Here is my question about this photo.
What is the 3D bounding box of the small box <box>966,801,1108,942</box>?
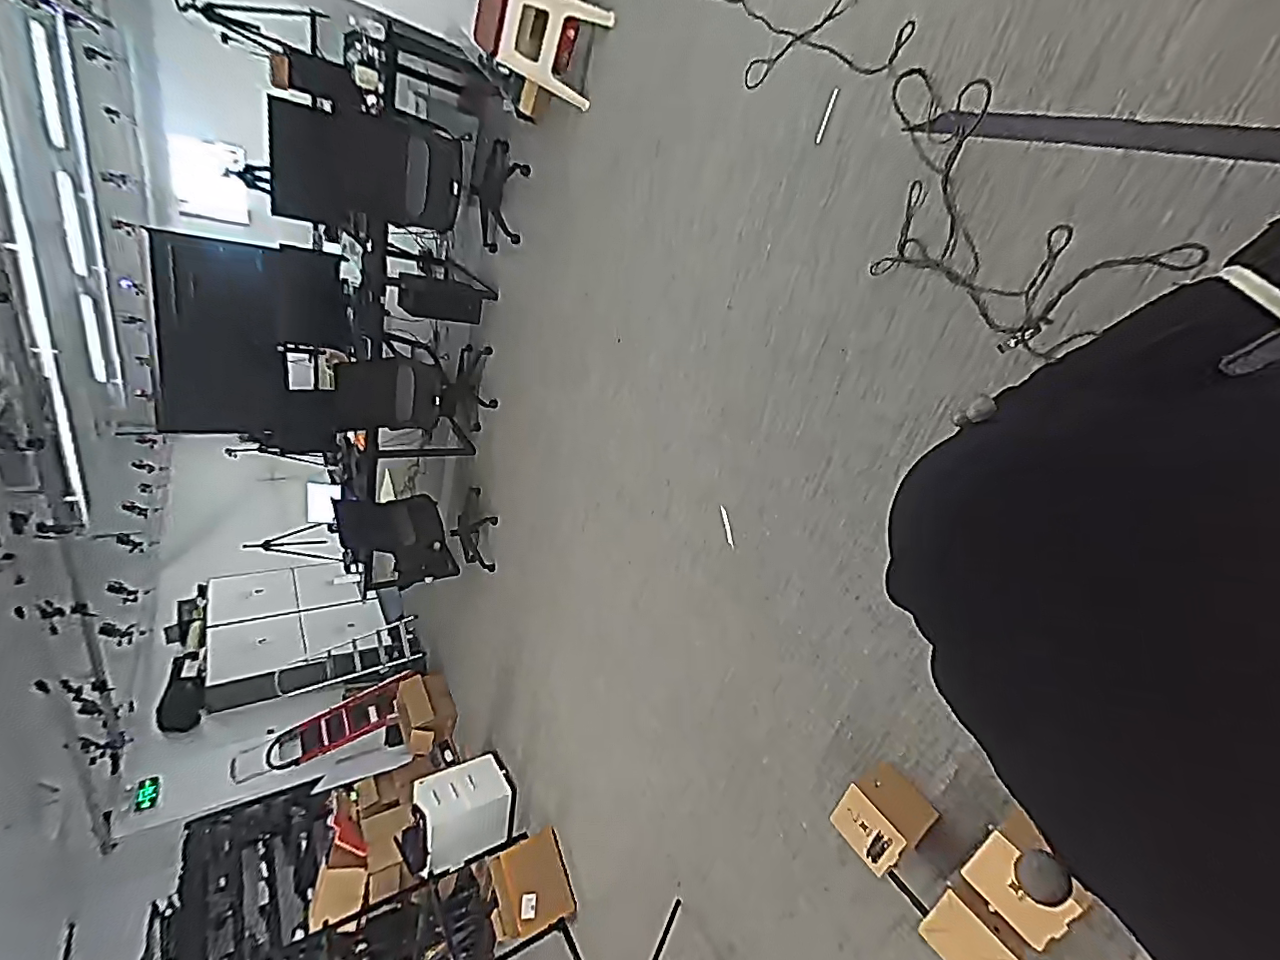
[{"bbox_3d":[0.883,0.855,1.206,0.179,0.176,0.168,40,125,43],"label":"small box"}]
